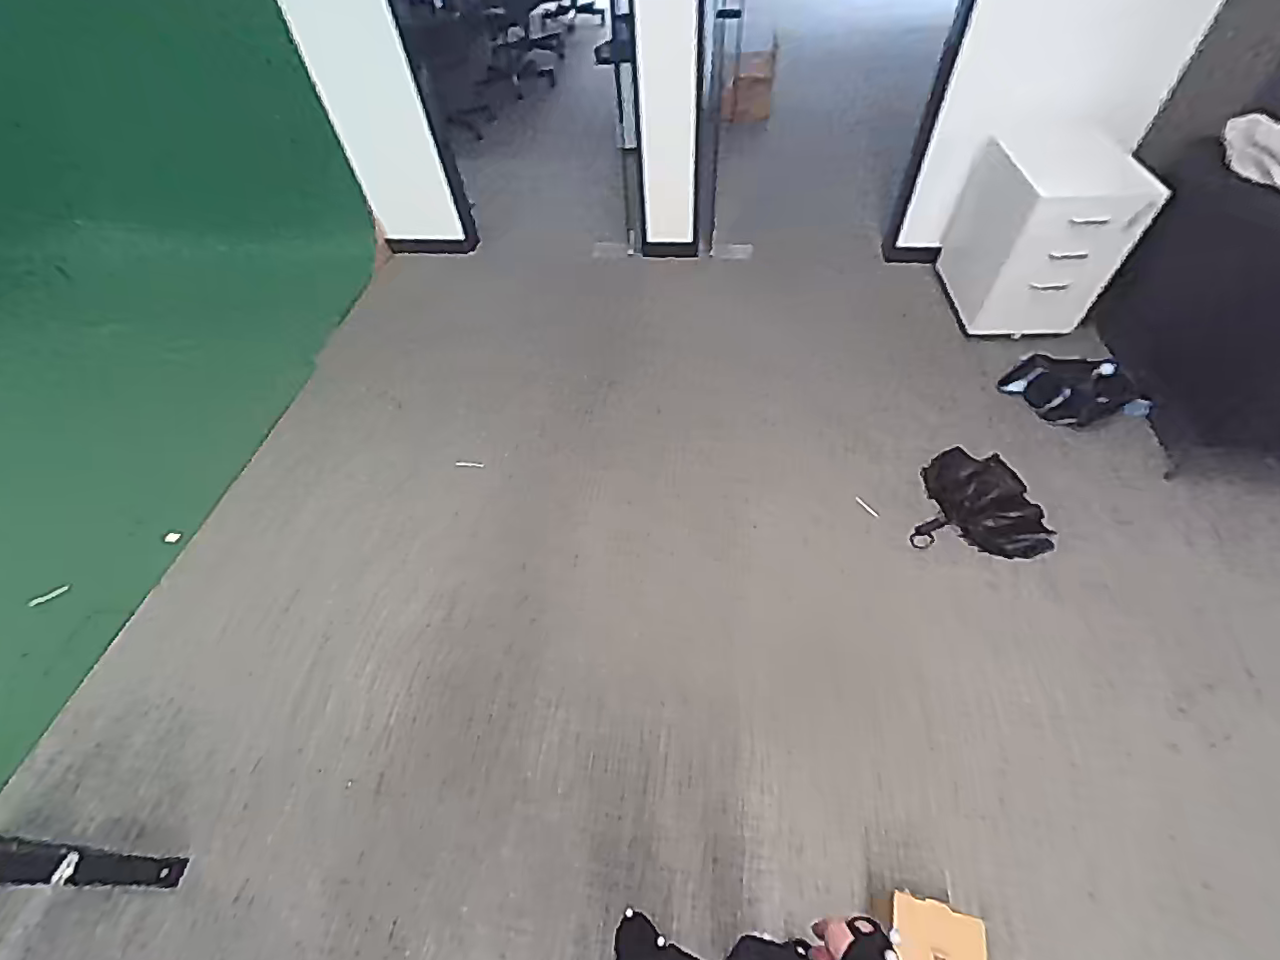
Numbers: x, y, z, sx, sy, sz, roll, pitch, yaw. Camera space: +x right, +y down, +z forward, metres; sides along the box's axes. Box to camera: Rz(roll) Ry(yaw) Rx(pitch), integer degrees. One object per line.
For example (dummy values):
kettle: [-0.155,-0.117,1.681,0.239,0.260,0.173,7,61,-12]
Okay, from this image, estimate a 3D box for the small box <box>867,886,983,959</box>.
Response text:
small box: [0.558,0.938,1.073,0.168,0.176,0.179,11,55,14]
